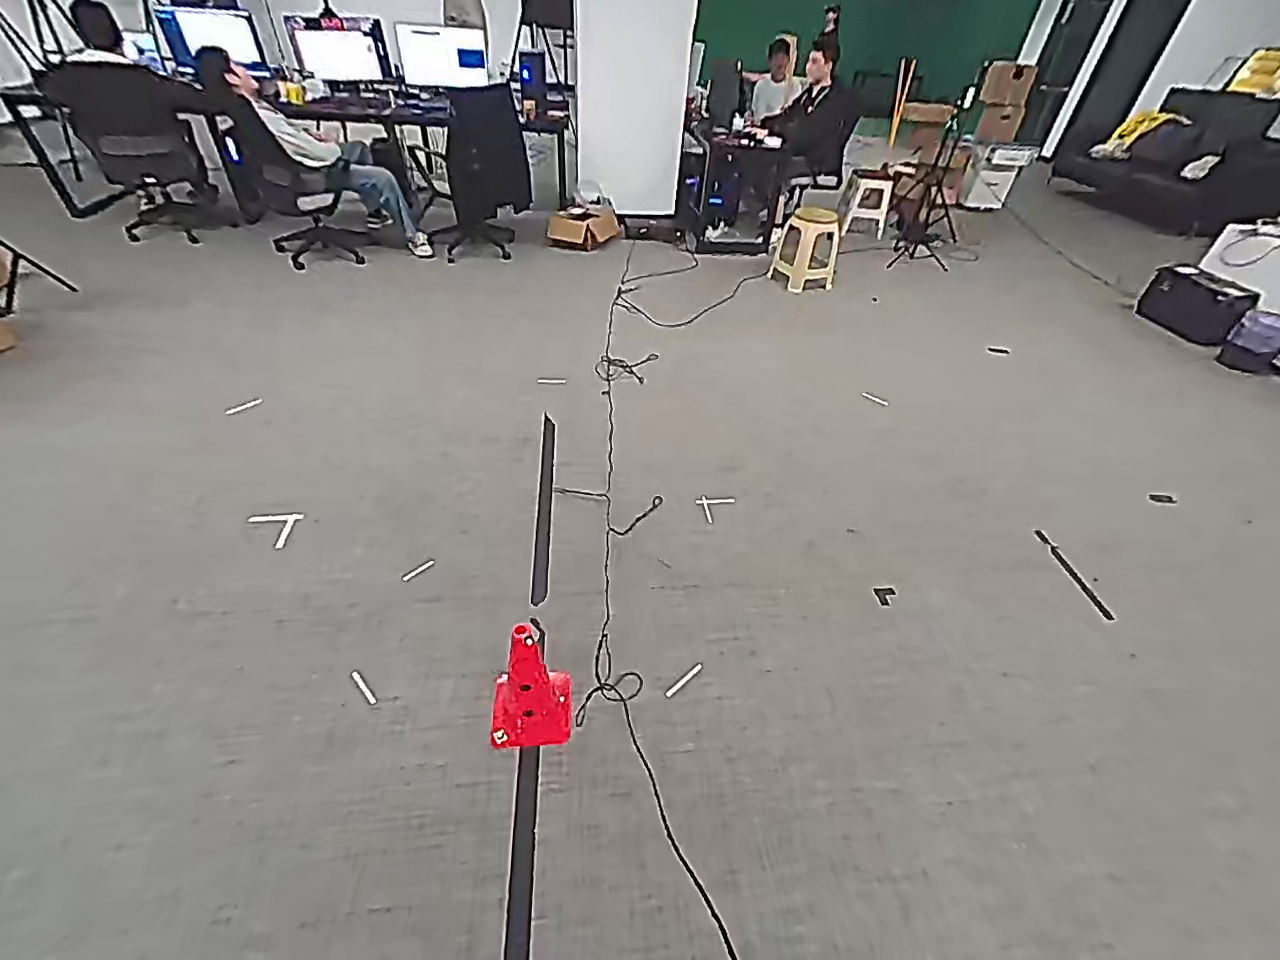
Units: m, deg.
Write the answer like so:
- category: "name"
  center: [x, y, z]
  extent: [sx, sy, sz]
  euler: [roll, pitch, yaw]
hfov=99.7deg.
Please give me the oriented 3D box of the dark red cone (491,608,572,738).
- category: "dark red cone"
  center: [-0.265, 0.442, 1.291]
  extent: [0.201, 0.394, 0.202]
  euler: [0, 41, -8]
